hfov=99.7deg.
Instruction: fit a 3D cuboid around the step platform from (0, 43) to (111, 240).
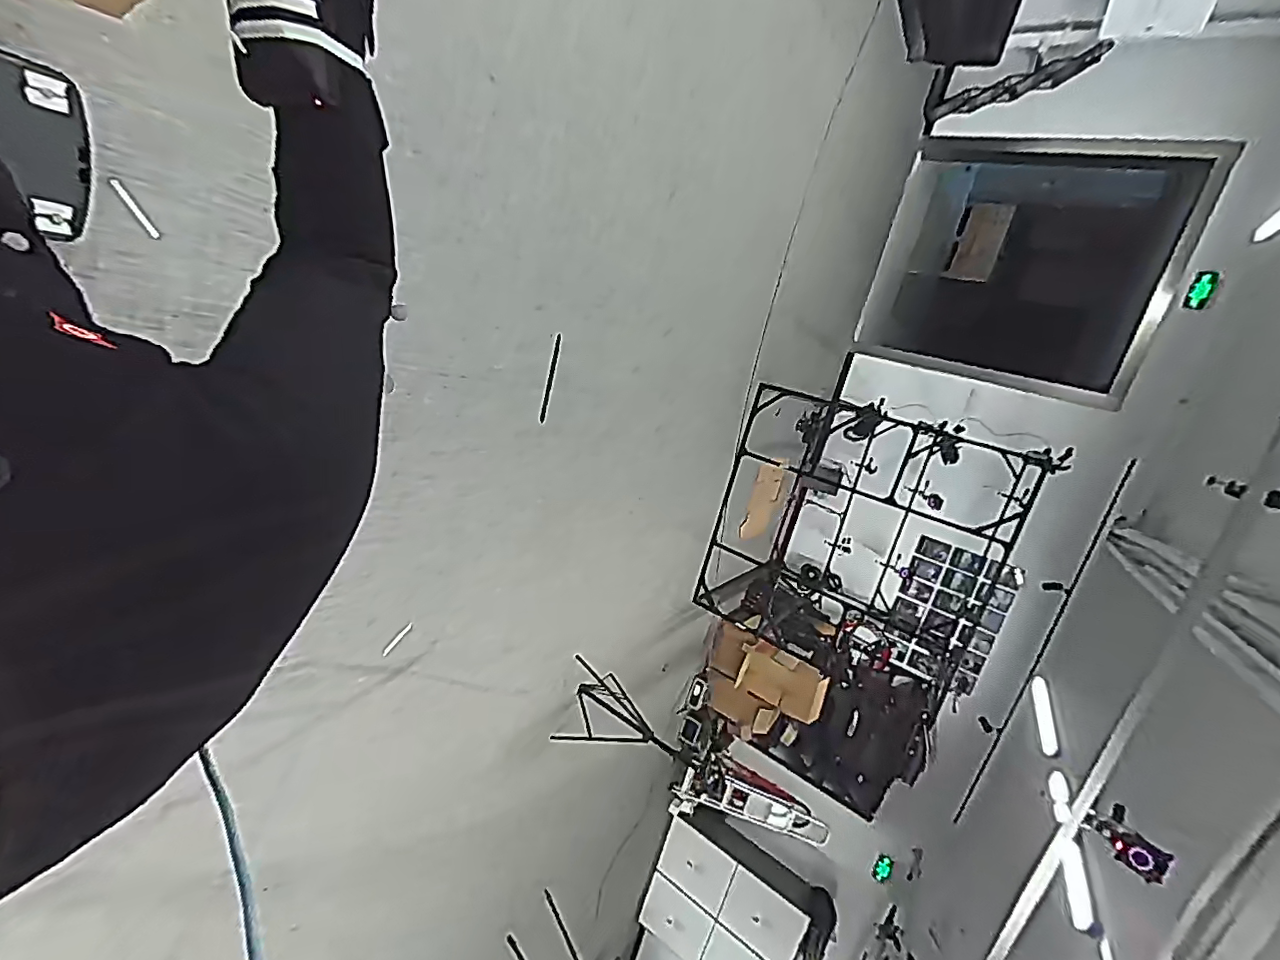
[{"bbox_3d":[-1.216,-0.572,0.754,0.684,0.204,0.286,-10,118,-57],"label":"step platform"}]
